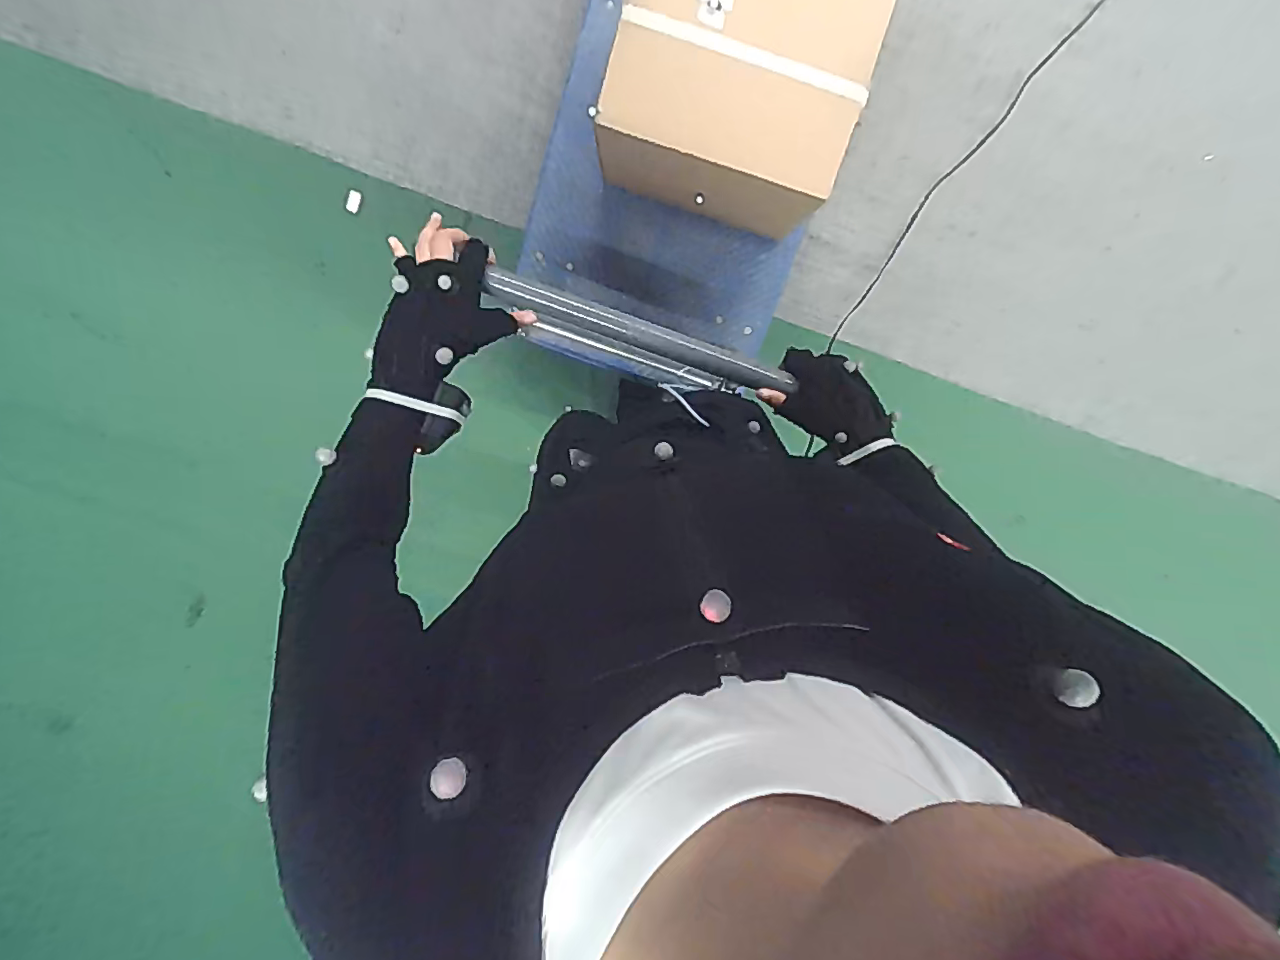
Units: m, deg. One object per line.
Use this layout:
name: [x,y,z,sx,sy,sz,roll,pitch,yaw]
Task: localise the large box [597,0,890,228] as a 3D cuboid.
large box: [0.164,-0.703,0.990,0.408,0.320,0.320,16,101,-3]
